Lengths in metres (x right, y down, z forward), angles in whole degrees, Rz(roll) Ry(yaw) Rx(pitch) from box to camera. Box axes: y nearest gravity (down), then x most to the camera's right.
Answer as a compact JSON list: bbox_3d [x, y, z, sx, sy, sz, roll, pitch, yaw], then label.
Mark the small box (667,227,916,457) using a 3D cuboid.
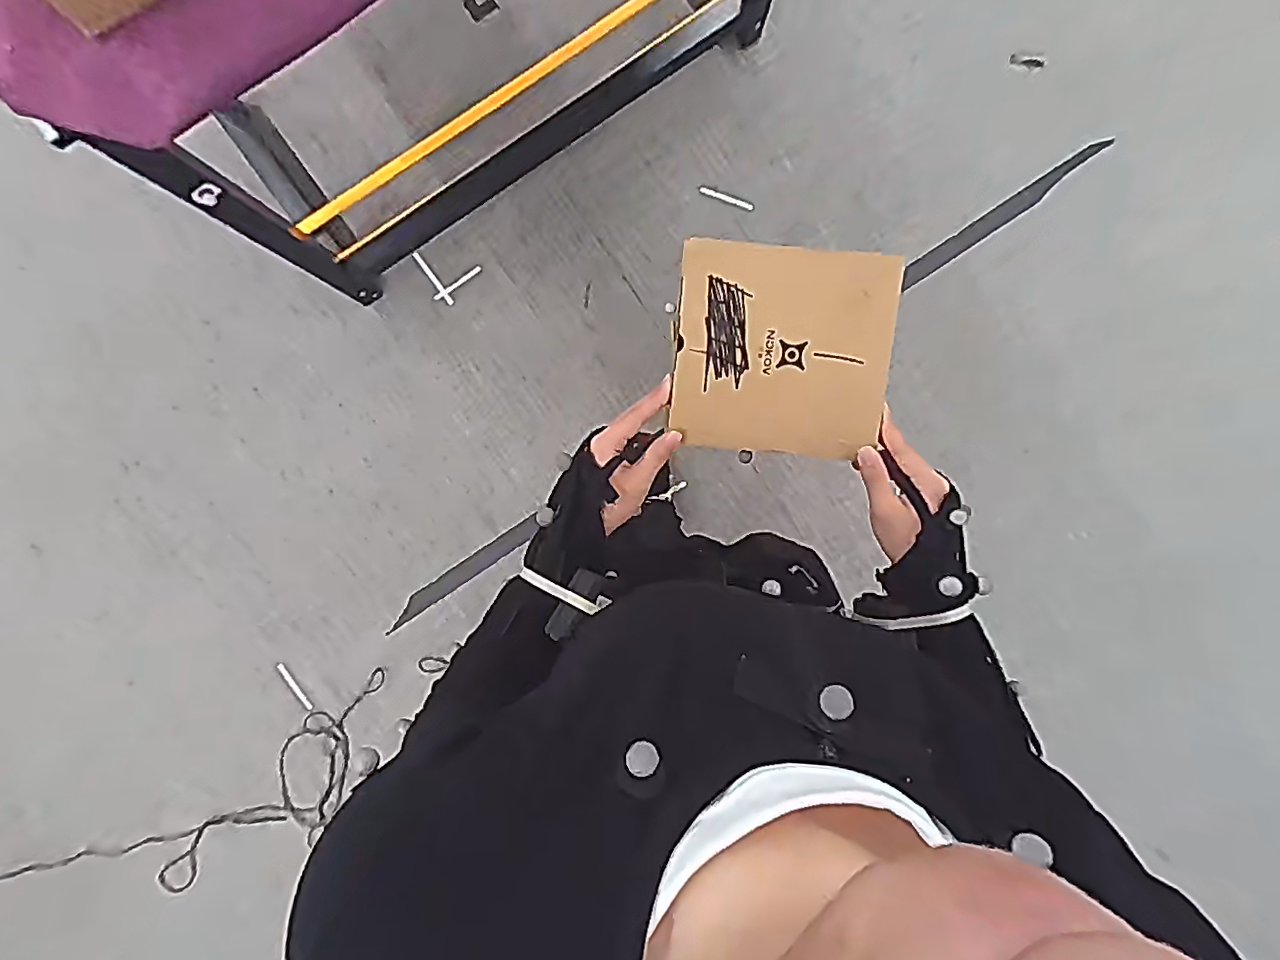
[{"bbox_3d":[0.120,-0.117,0.504,0.179,0.176,0.168,6,98,2],"label":"small box"}]
